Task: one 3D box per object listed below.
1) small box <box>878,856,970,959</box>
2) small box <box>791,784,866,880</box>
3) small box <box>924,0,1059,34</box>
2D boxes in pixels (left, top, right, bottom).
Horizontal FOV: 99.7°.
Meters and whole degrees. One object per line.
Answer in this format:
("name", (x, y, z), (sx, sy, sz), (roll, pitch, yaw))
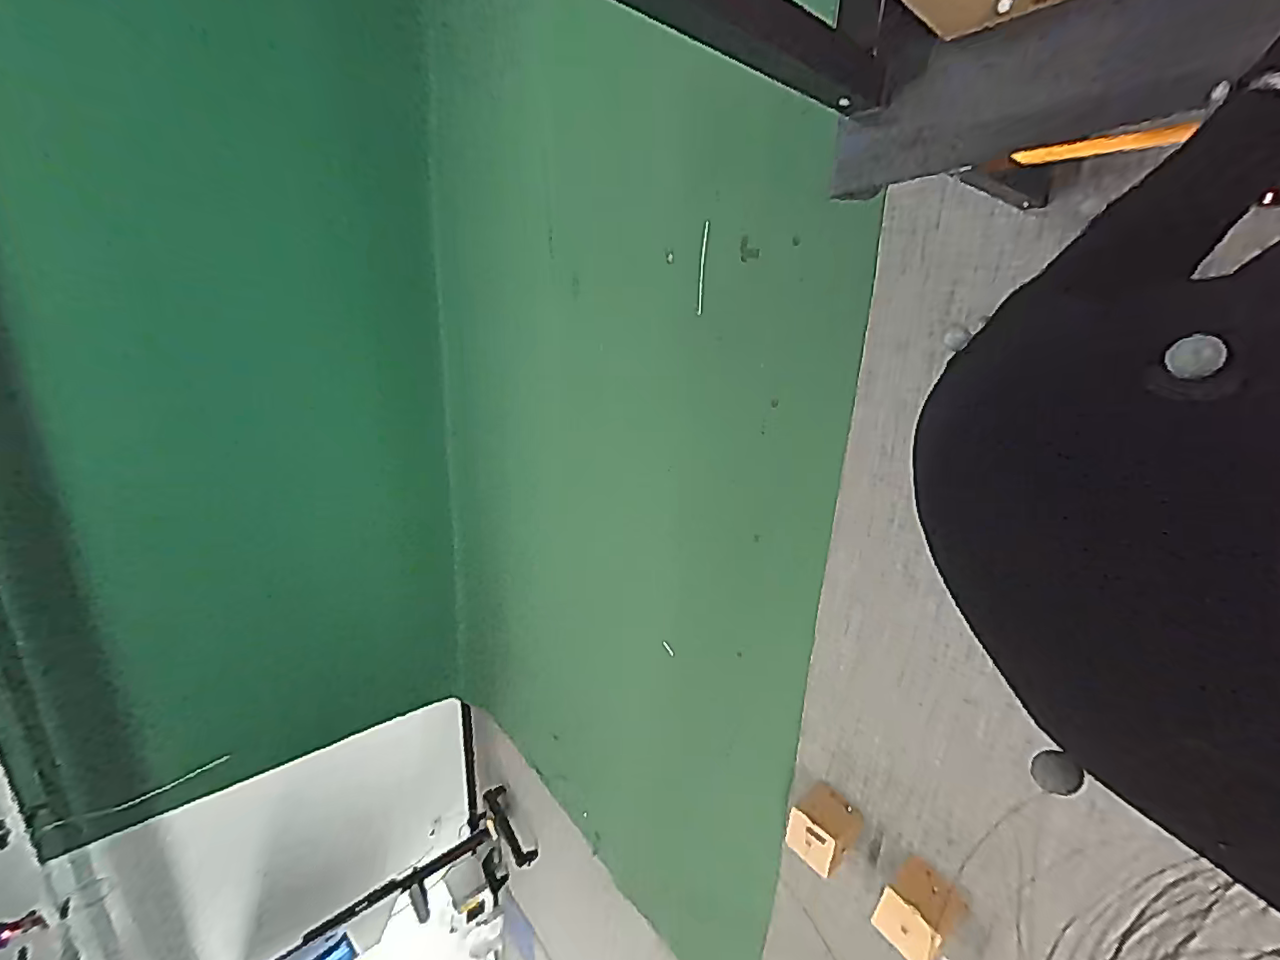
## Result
("small box", (0.842, 1.277, 1.600), (0.168, 0.176, 0.179), (29, 120, 44))
("small box", (0.638, 1.178, 1.824), (0.168, 0.176, 0.179), (23, 117, 46))
("small box", (0.371, -0.594, 0.530), (0.168, 0.176, 0.179), (18, 113, 47))
